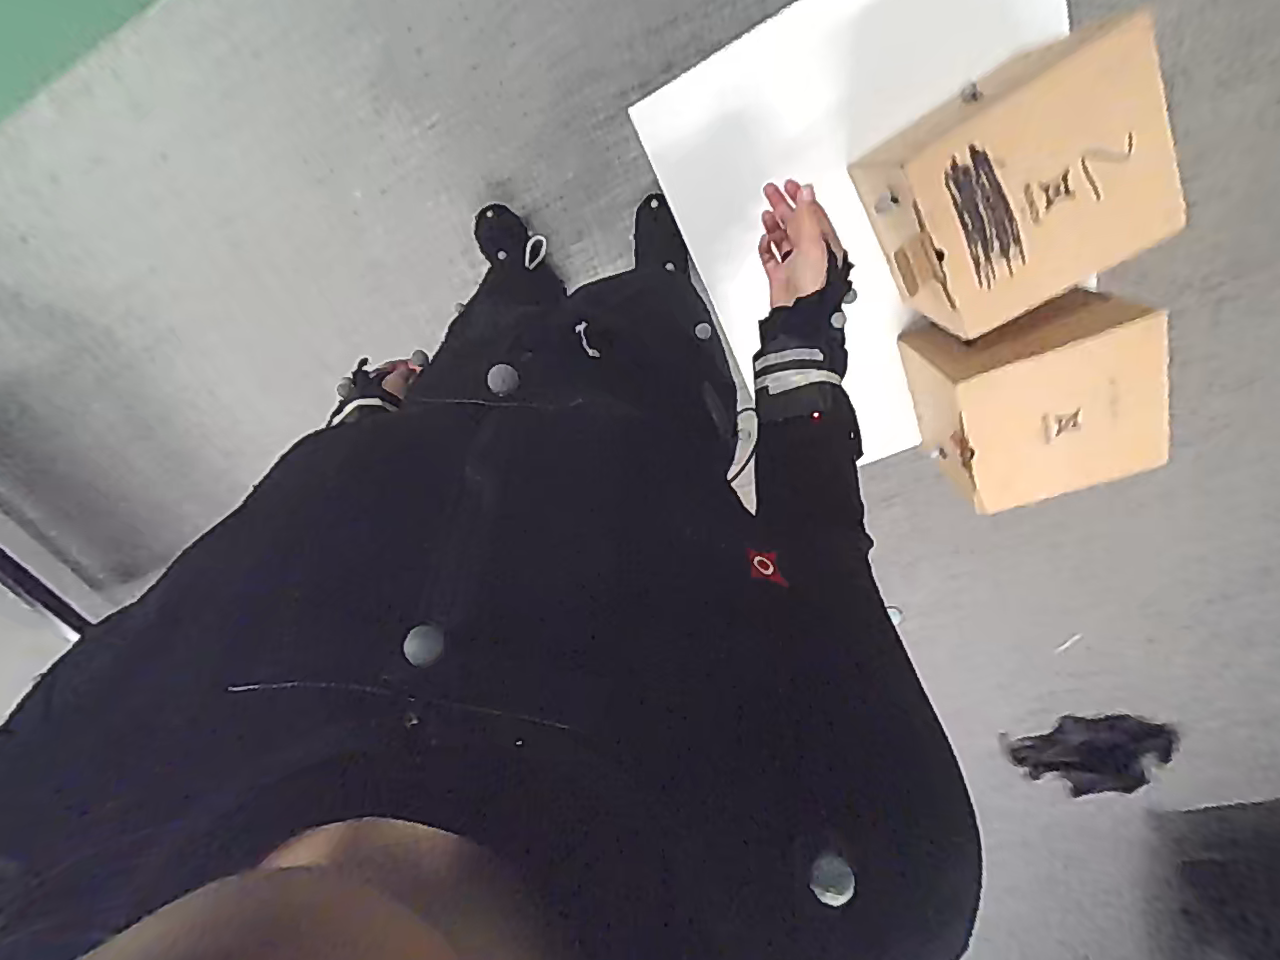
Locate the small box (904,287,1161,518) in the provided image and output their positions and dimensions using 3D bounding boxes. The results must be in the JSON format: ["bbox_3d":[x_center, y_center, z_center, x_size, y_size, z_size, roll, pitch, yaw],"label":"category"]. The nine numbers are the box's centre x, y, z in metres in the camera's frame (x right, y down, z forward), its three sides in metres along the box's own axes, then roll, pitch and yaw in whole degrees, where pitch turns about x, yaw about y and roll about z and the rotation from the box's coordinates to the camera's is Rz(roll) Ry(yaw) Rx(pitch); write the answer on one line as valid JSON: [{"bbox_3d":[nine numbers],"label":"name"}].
[{"bbox_3d":[0.412,-0.090,0.596,0.179,0.176,0.168,-20,117,15],"label":"small box"}]
